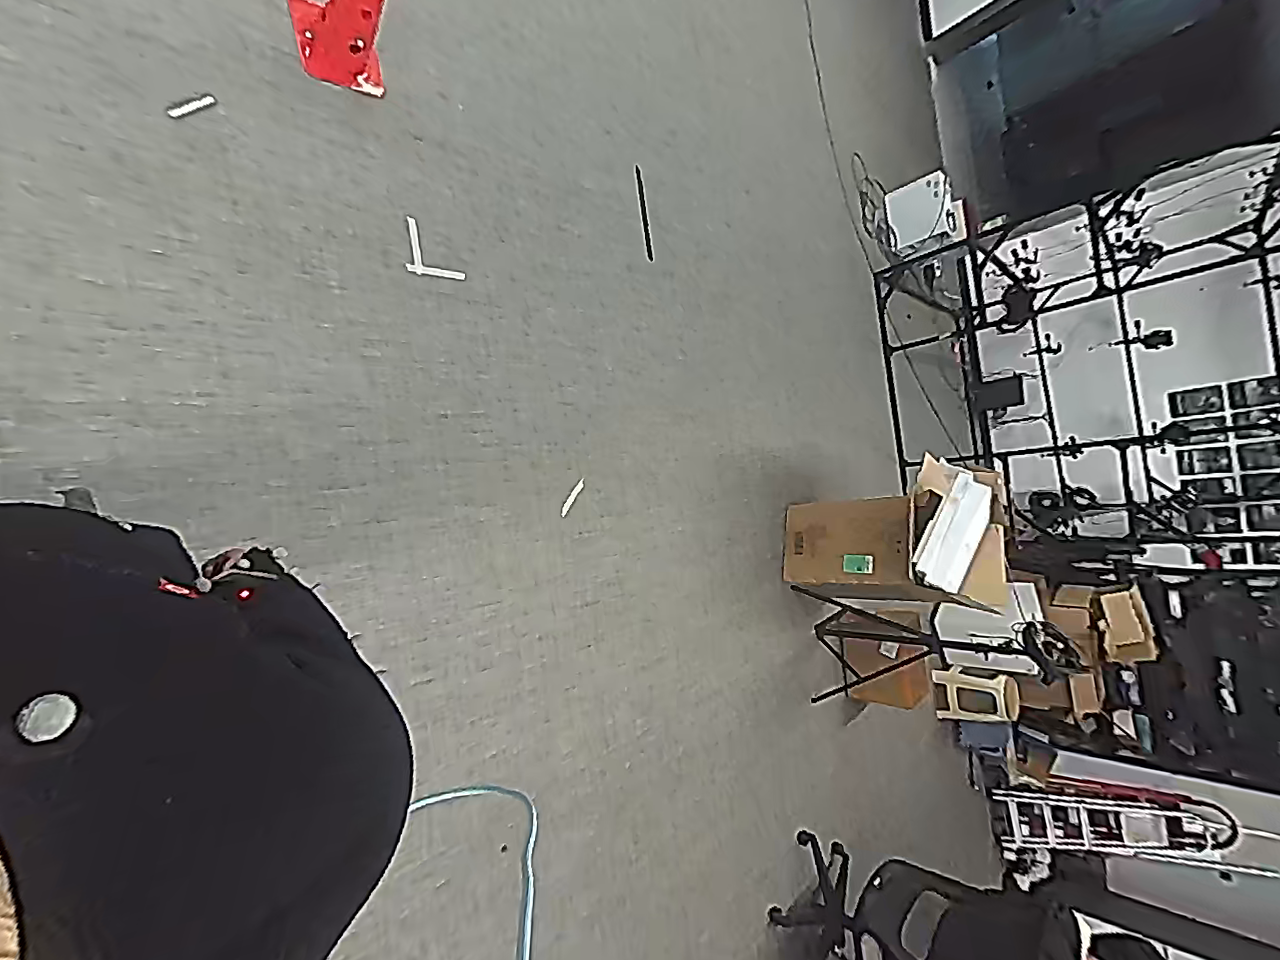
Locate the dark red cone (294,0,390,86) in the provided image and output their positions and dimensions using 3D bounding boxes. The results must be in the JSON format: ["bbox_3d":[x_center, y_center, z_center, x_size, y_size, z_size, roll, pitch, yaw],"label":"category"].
[{"bbox_3d":[-0.642,-1.139,1.255,0.201,0.394,0.202,-16,96,-44],"label":"dark red cone"}]
